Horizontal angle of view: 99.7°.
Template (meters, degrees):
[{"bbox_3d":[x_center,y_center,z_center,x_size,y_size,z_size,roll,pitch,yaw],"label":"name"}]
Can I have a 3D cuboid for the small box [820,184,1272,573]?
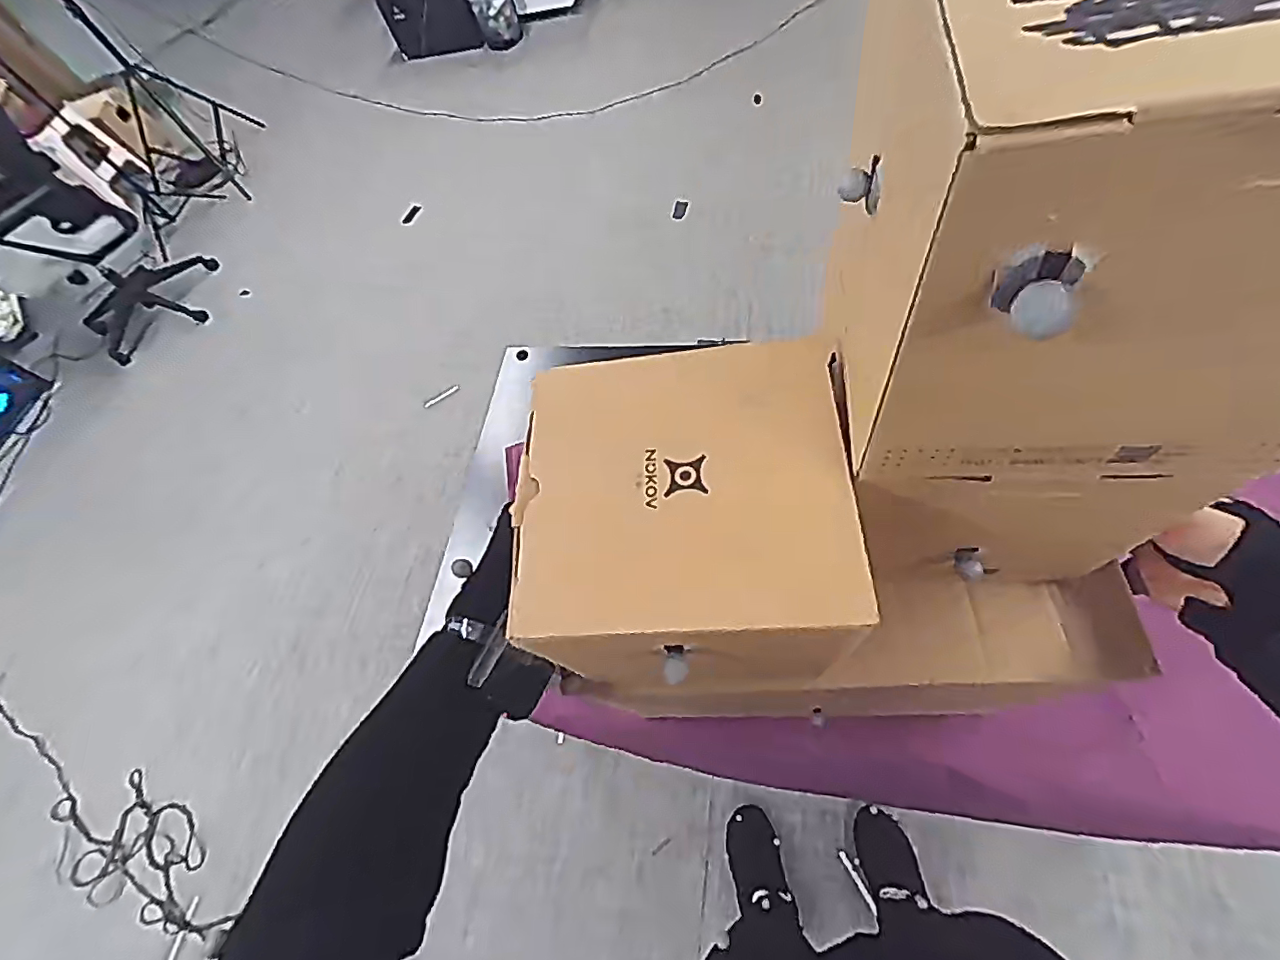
[{"bbox_3d":[0.211,-0.052,0.351,0.168,0.176,0.179,0,64,14],"label":"small box"}]

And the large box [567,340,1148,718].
[{"bbox_3d":[0.167,0.074,0.579,0.408,0.320,0.320,-7,61,11],"label":"large box"}]
